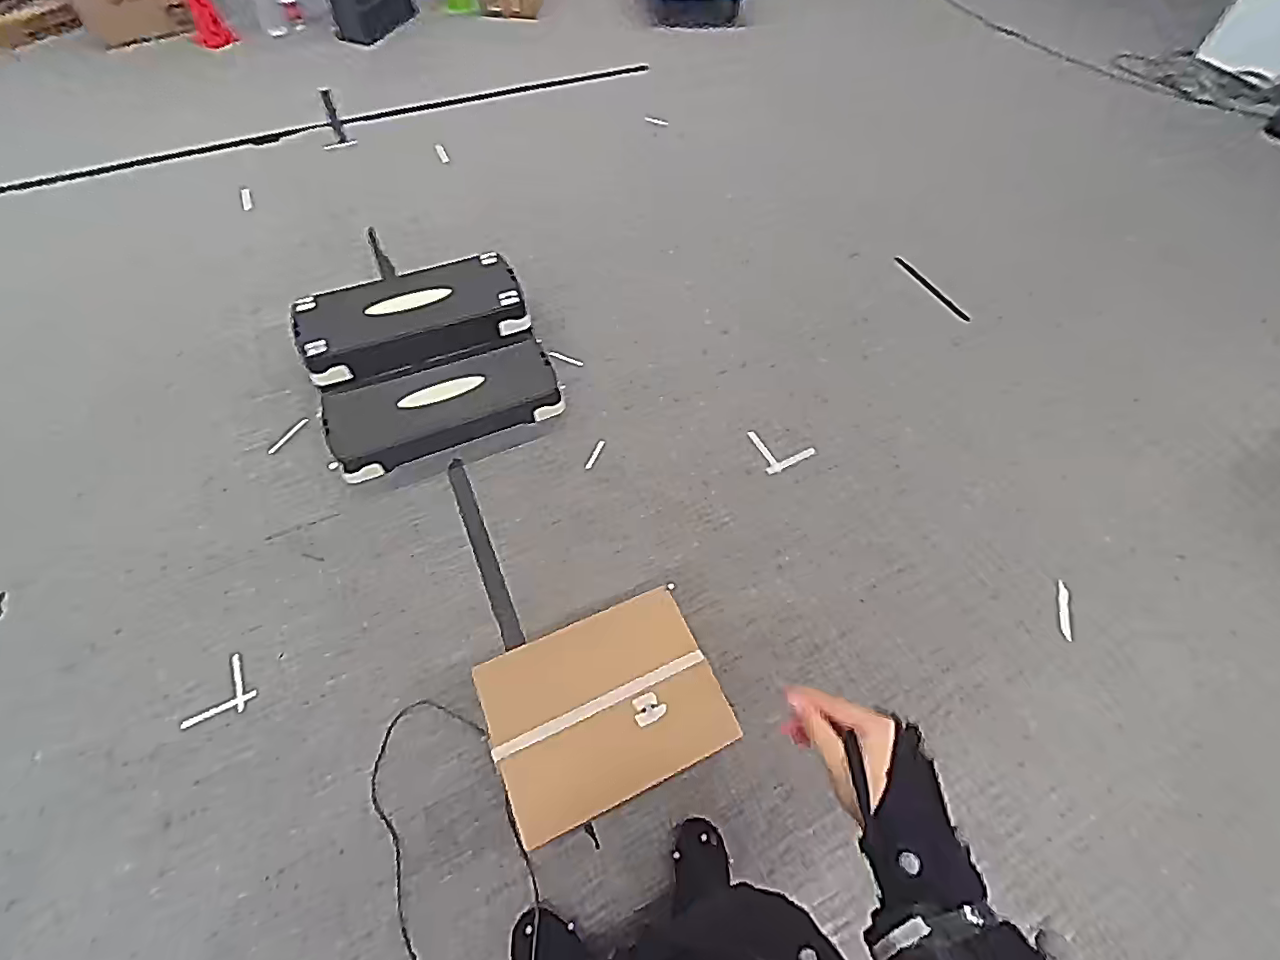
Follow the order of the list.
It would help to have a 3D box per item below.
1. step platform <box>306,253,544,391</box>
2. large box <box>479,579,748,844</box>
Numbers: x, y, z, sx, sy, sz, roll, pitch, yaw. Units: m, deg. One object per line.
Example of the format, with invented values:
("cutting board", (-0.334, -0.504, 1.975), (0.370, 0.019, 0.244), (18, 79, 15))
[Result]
("step platform", (-0.664, -0.512, 1.714), (0.684, 0.204, 0.286), (-15, 61, -13))
("large box", (-0.059, 0.462, 1.081), (0.408, 0.320, 0.320), (-20, 61, -15))
